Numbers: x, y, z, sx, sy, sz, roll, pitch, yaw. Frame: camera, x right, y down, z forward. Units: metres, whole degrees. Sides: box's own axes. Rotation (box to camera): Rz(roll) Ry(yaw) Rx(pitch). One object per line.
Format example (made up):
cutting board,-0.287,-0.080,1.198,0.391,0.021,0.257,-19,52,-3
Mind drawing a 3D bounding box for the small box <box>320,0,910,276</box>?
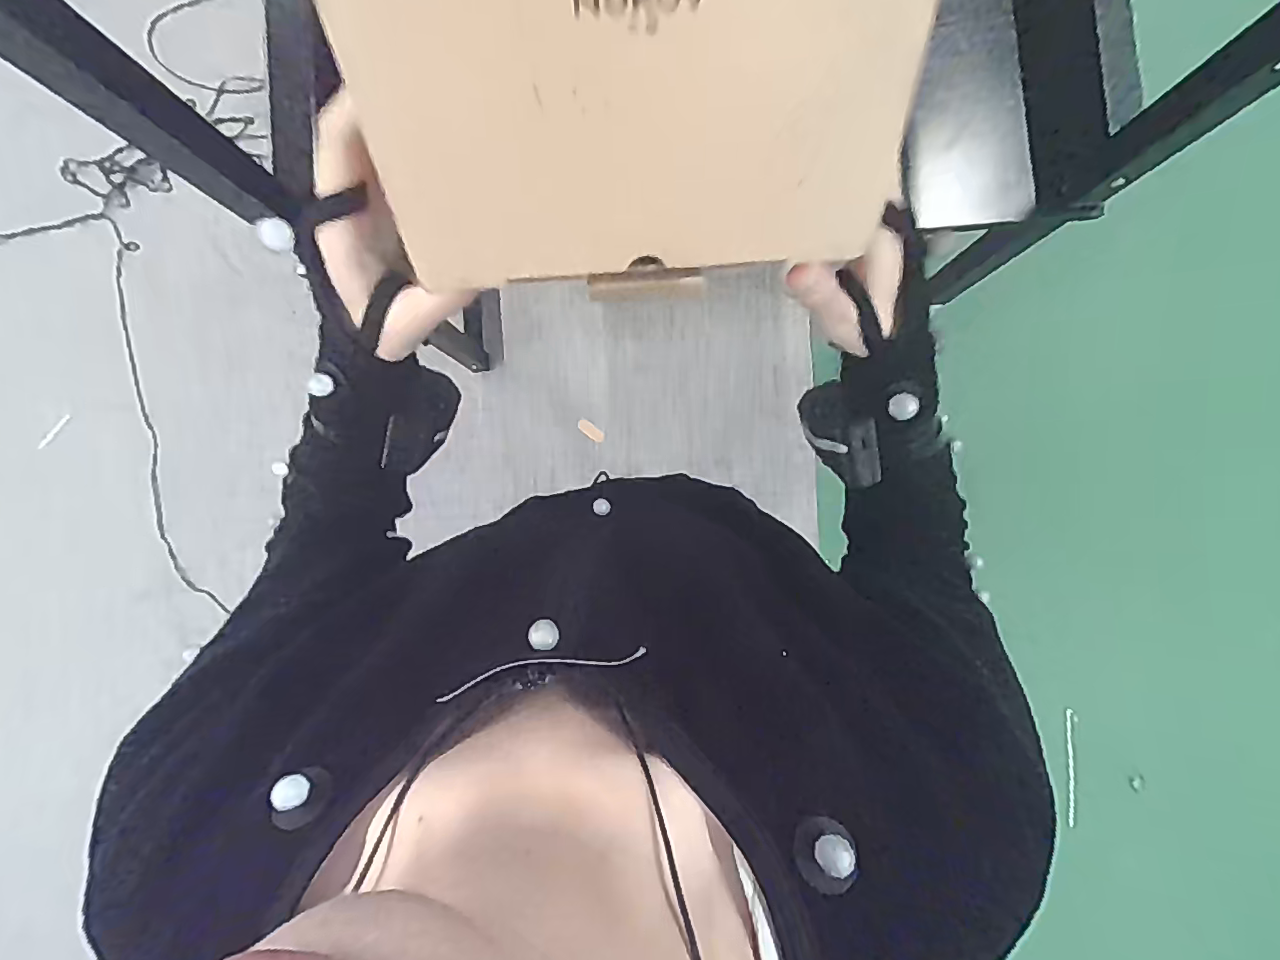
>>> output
small box,-0.010,-0.198,0.197,0.168,0.179,0.176,-4,46,-2
